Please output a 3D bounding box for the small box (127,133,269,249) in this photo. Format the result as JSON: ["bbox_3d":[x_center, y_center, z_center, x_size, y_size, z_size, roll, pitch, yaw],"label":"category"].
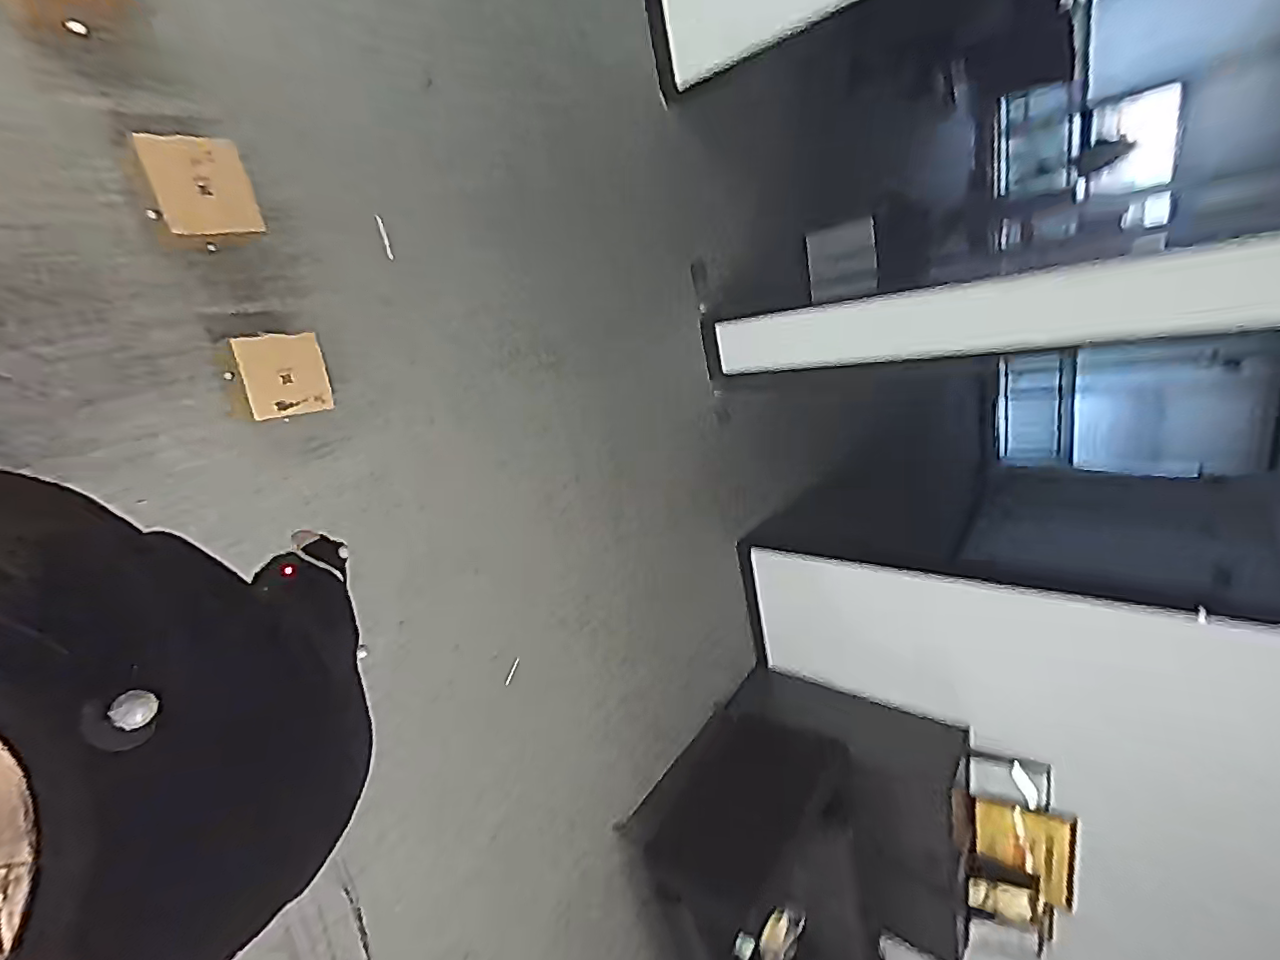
[{"bbox_3d":[-0.909,-0.584,1.115,0.168,0.176,0.179,-30,115,-44],"label":"small box"}]

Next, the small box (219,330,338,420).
[{"bbox_3d":[-0.828,-0.238,1.237,0.168,0.176,0.179,-22,109,-45],"label":"small box"}]
